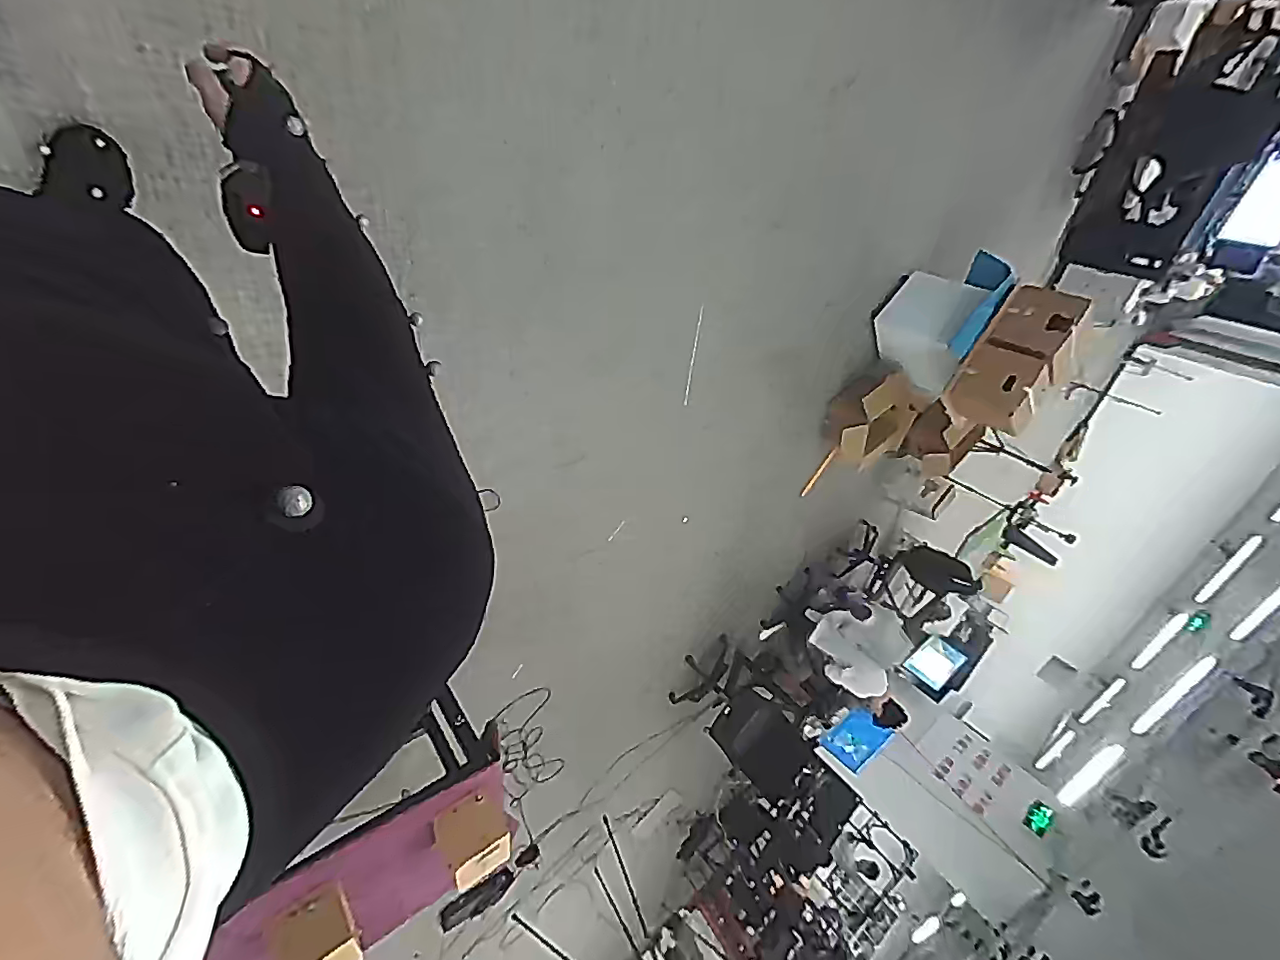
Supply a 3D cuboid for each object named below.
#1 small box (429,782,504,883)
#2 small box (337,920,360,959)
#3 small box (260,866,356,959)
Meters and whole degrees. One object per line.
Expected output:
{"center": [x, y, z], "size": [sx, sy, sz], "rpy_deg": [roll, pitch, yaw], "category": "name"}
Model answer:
{"center": [-0.524, 1.050, 1.629], "size": [0.168, 0.176, 0.179], "rpy_deg": [-17, 134, -34], "category": "small box"}
{"center": [-0.908, 1.421, 1.566], "size": [0.168, 0.176, 0.179], "rpy_deg": [-16, 129, -35], "category": "small box"}
{"center": [-0.854, 1.149, 1.393], "size": [0.168, 0.176, 0.179], "rpy_deg": [-19, 133, -35], "category": "small box"}
